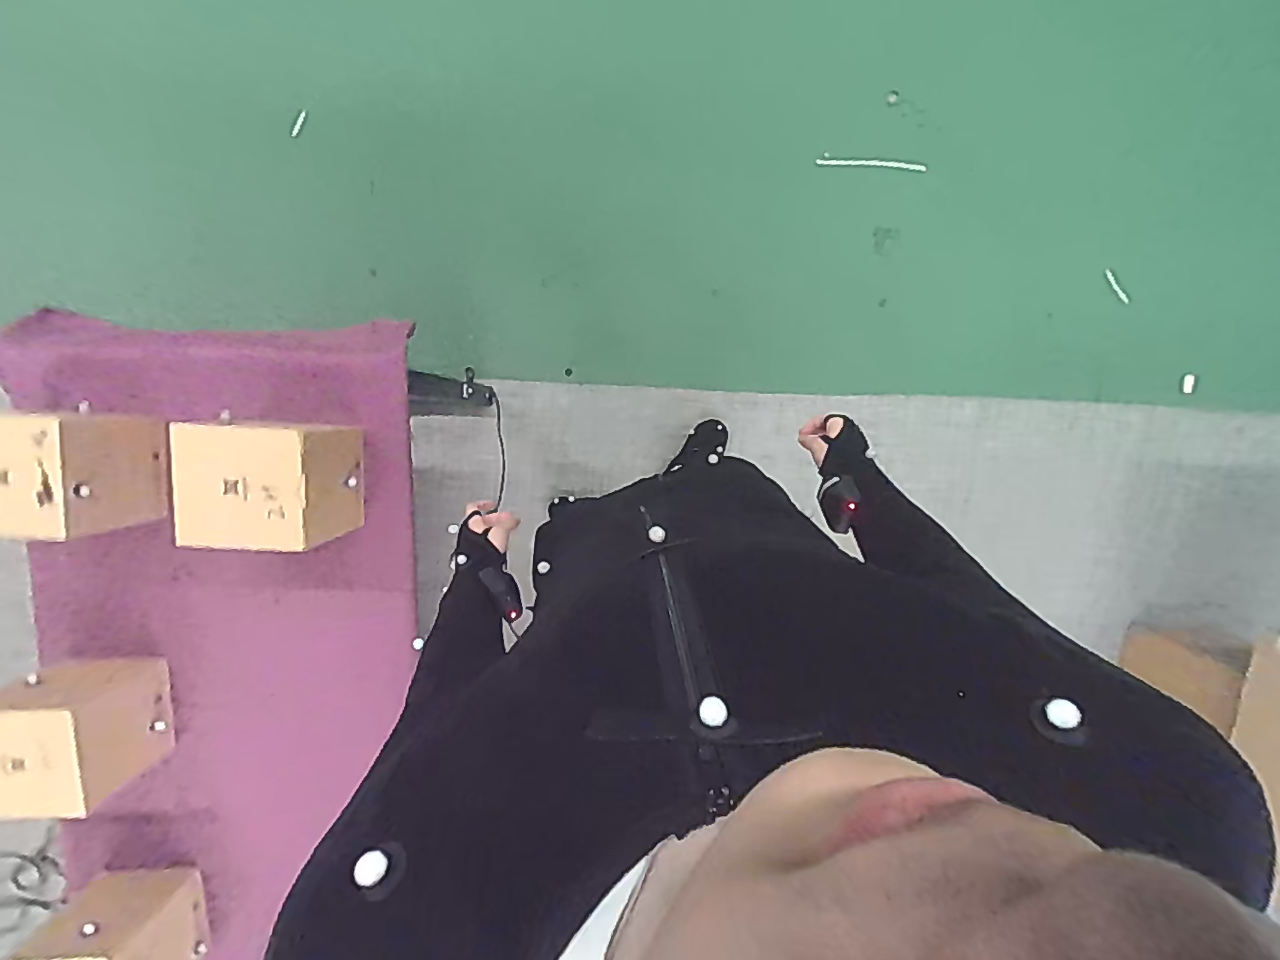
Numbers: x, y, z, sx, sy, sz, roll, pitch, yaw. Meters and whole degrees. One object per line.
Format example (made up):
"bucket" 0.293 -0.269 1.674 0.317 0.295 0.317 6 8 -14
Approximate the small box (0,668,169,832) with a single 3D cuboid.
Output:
"small box" -0.882 0.402 0.828 0.179 0.176 0.168 0 96 -2

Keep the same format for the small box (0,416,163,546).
"small box" -0.855 -0.007 0.788 0.179 0.176 0.168 3 96 -1

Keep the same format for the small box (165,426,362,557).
"small box" -0.538 0.008 0.793 0.179 0.176 0.168 3 97 -2

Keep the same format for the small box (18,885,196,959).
"small box" -0.856 0.788 0.864 0.179 0.176 0.168 -3 95 0
